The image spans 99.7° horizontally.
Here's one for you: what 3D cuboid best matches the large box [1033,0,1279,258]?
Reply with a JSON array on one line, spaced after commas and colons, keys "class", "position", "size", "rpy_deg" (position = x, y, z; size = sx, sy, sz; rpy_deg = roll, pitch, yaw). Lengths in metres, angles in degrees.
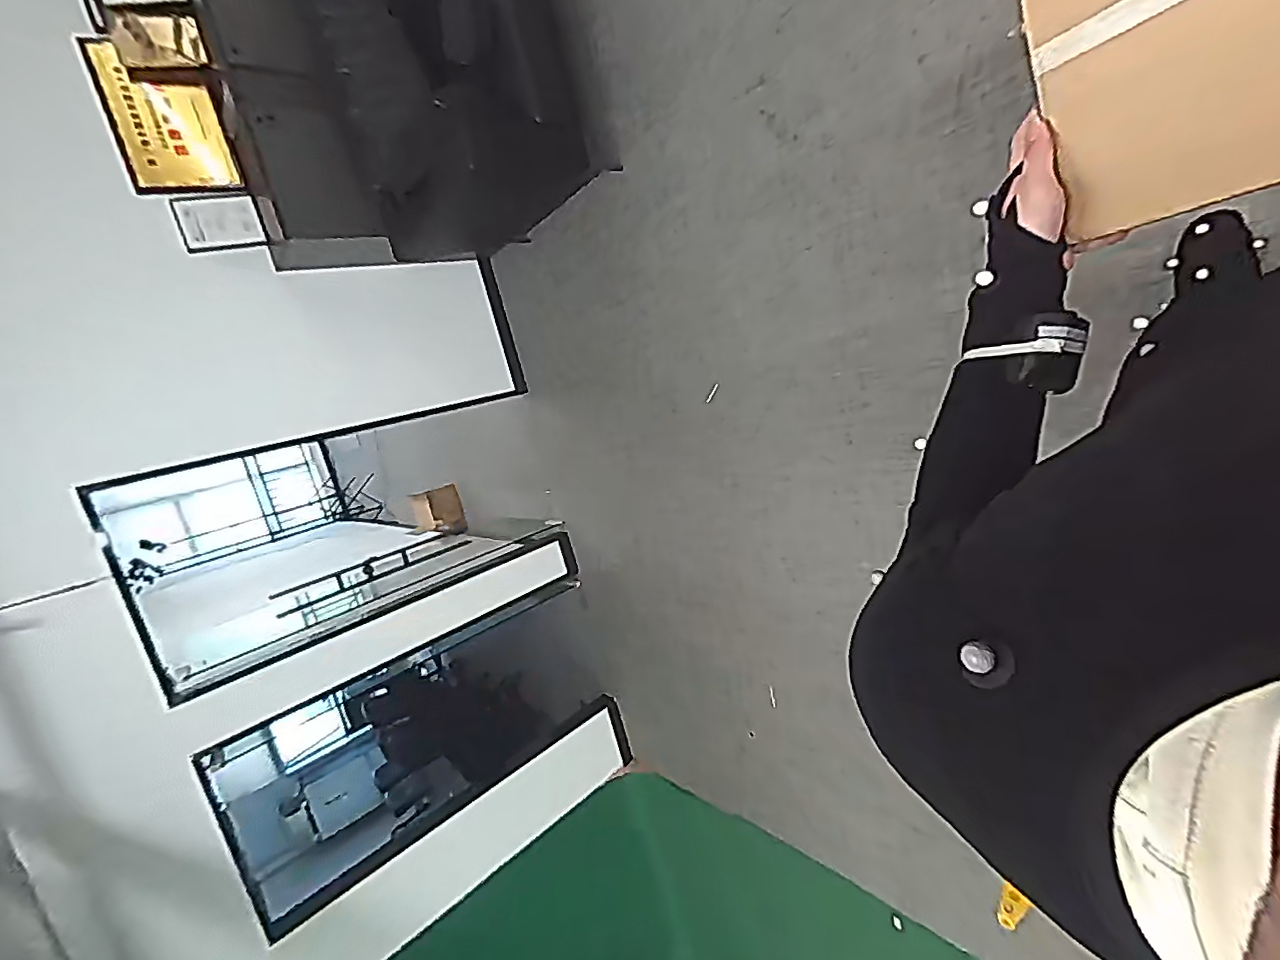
[{"class": "large box", "position": [0.585, -0.408, 0.404], "size": [0.408, 0.320, 0.320], "rpy_deg": [-5, 108, 52]}]
